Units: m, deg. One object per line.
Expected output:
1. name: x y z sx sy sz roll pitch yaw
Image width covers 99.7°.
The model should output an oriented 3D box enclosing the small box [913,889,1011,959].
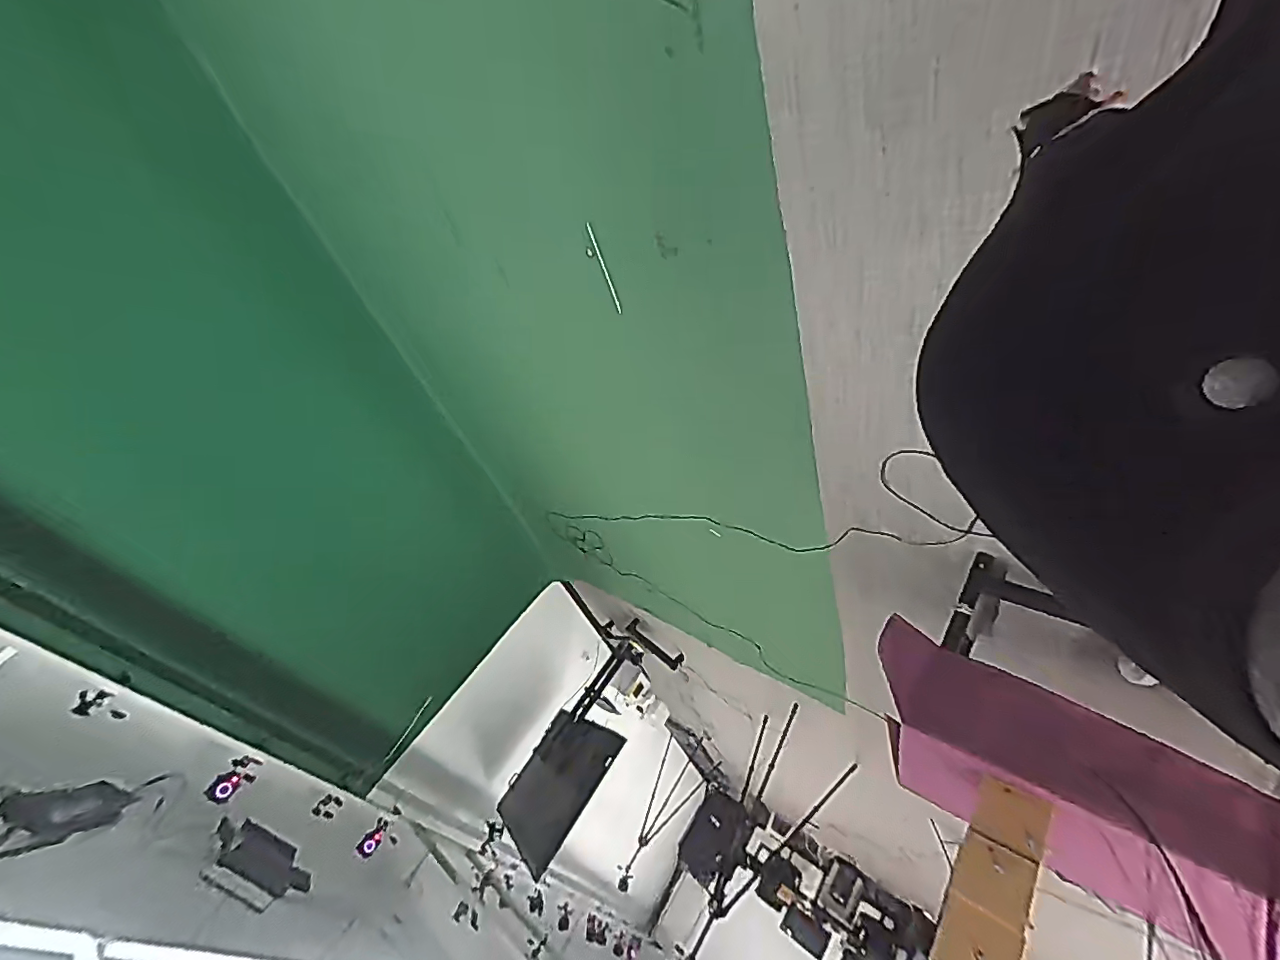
1. small box: 0.837 1.202 1.400 0.179 0.176 0.168 10 142 43

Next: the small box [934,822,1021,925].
1. small box: 0.920 1.078 1.472 0.168 0.176 0.179 13 143 42
